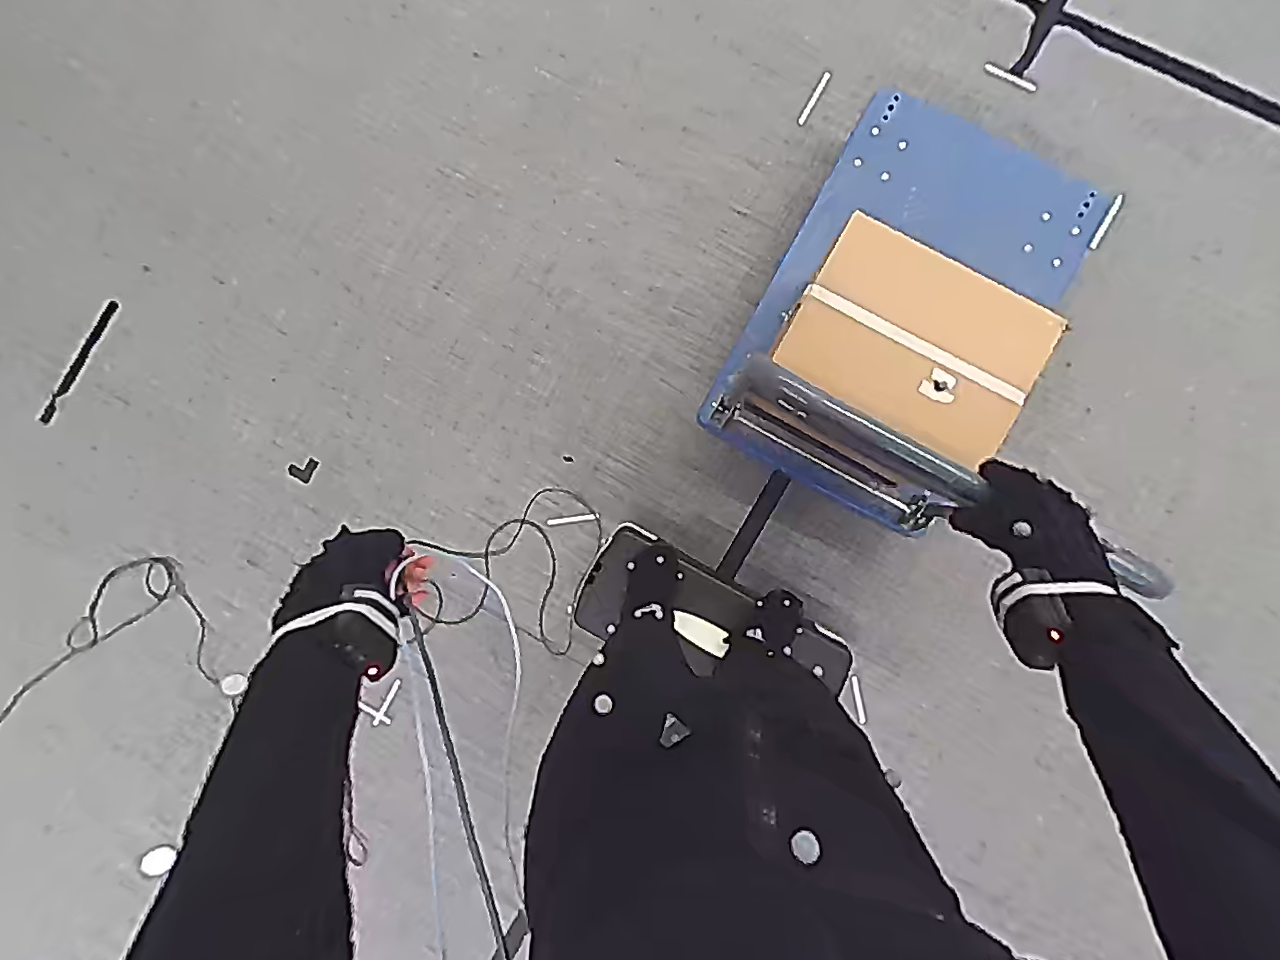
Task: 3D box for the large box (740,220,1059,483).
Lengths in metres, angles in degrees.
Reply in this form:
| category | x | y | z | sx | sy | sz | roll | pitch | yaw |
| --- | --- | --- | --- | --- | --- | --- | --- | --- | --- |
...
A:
| category | x | y | z | sx | sy | sz | roll | pitch | yaw |
| --- | --- | --- | --- | --- | --- | --- | --- | --- | --- |
| large box | 0.460 | -0.218 | 1.058 | 0.408 | 0.320 | 0.320 | 29 | 91 | 2 |
